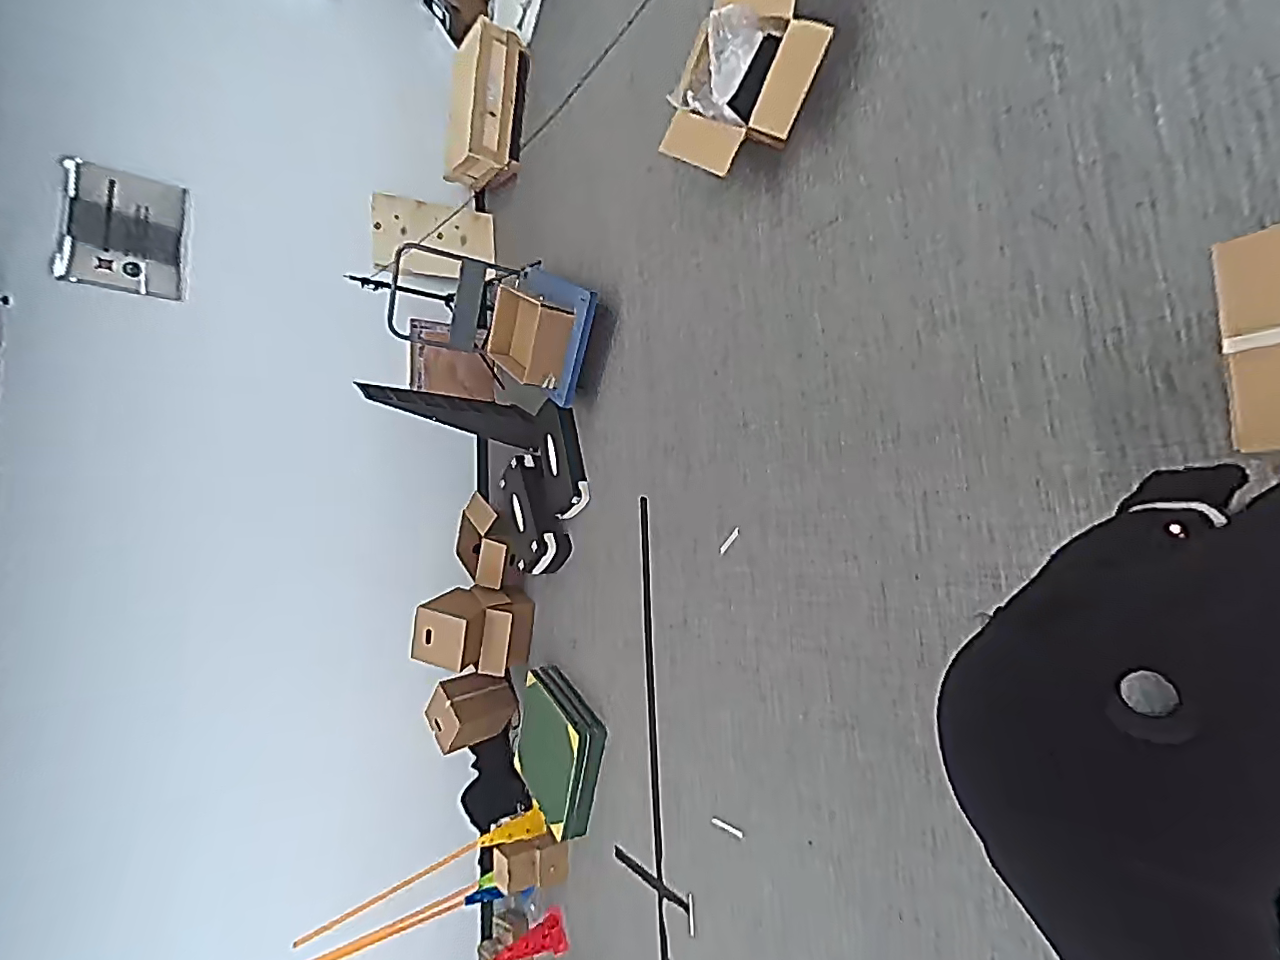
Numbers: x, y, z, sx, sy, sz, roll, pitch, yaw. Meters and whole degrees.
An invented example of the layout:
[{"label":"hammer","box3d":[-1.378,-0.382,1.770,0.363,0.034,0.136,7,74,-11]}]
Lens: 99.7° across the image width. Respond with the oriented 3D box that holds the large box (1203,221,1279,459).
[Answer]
[{"label":"large box","box3d":[1.081,-0.213,0.720,0.408,0.320,0.320,-9,81,54]}]
